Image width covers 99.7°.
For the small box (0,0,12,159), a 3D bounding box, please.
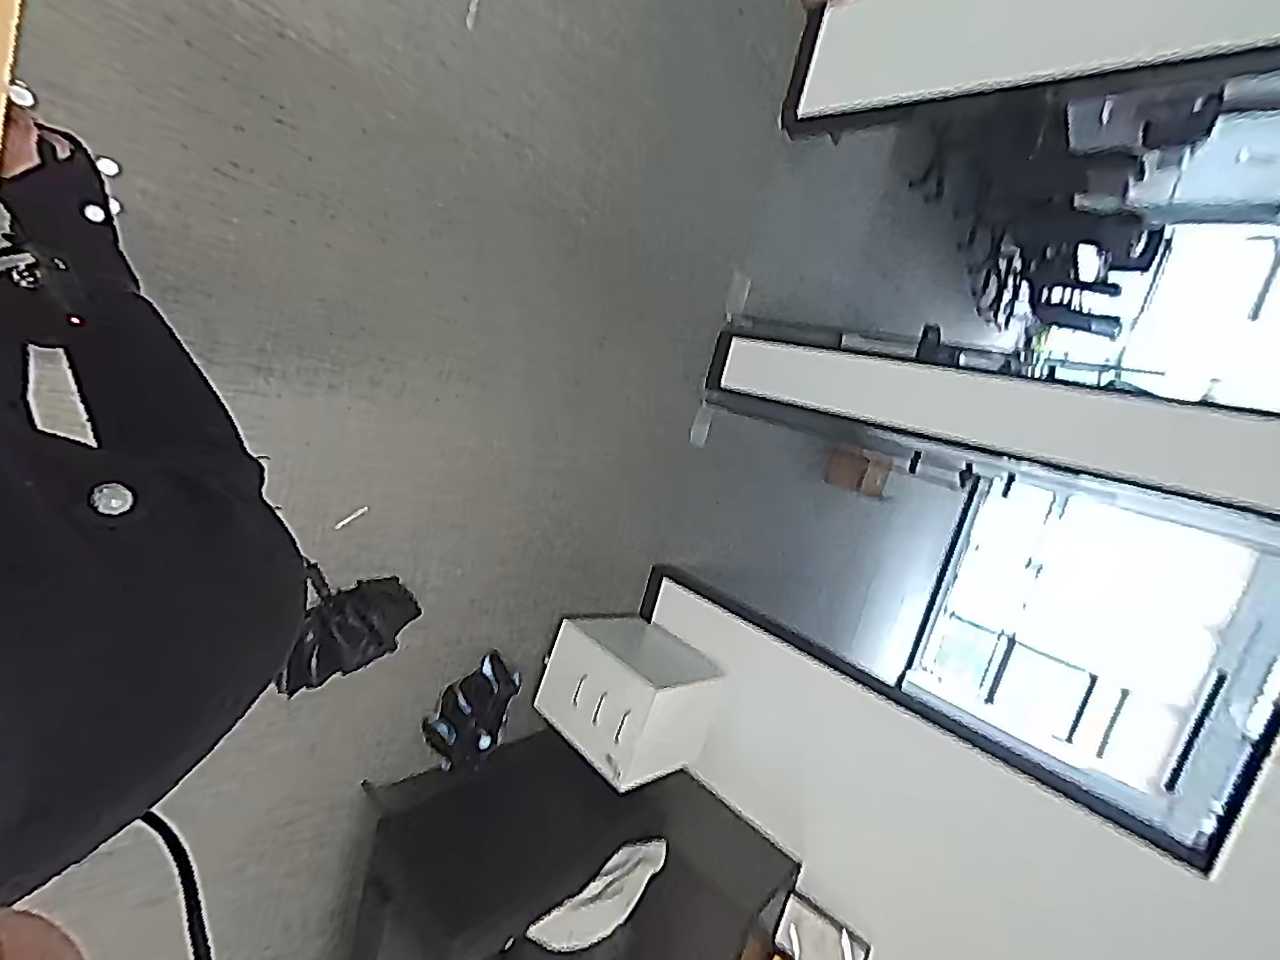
[{"bbox_3d":[-0.641,-0.376,0.439,0.168,0.176,0.179,2,108,-51],"label":"small box"}]
